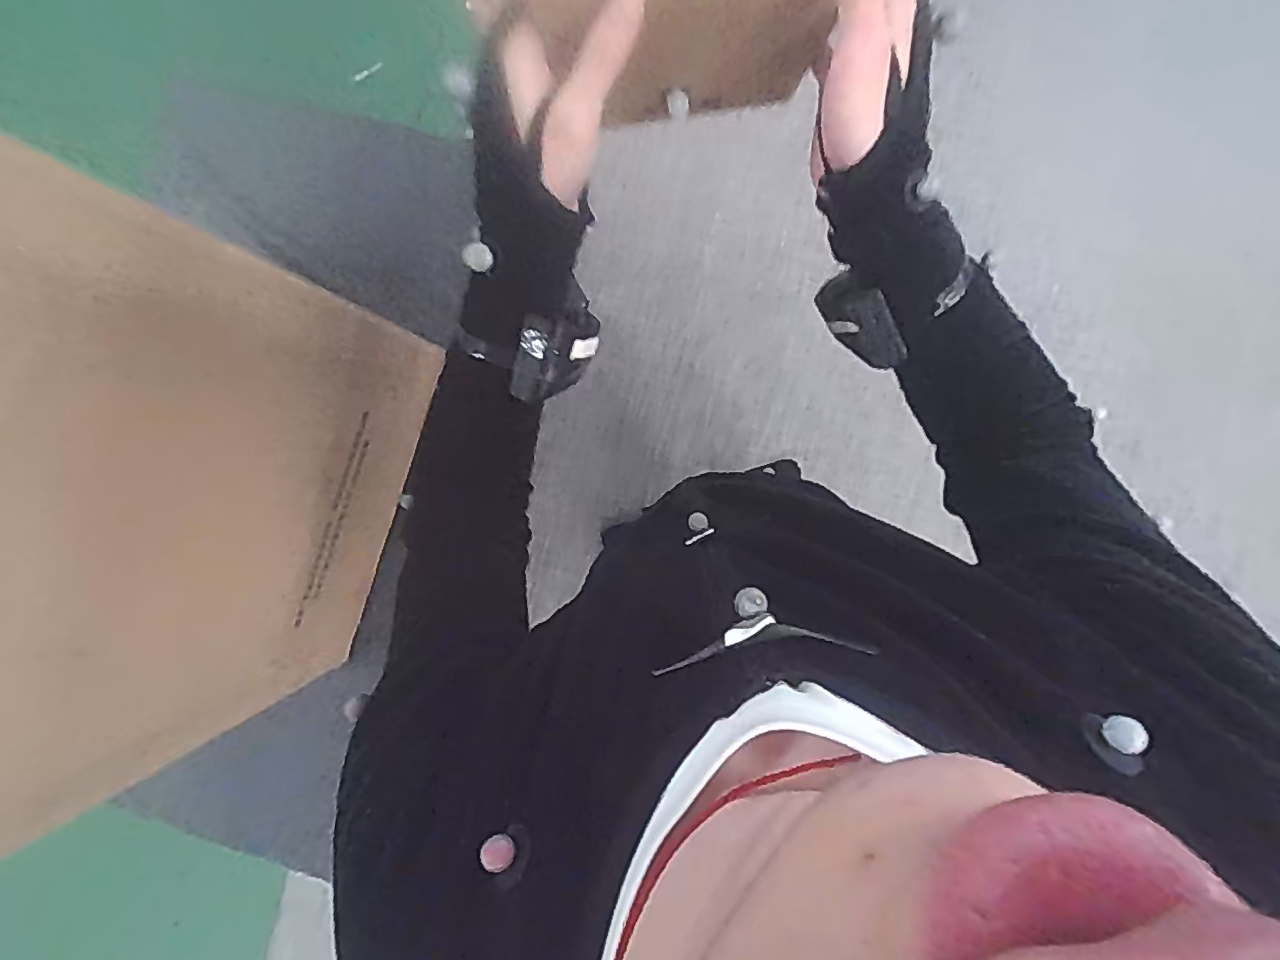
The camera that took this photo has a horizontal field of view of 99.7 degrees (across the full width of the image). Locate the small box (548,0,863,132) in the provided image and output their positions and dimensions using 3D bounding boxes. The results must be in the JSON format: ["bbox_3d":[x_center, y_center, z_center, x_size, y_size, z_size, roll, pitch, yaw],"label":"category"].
[{"bbox_3d":[0.025,-0.331,0.301,0.168,0.176,0.179,-7,103,1],"label":"small box"}]
